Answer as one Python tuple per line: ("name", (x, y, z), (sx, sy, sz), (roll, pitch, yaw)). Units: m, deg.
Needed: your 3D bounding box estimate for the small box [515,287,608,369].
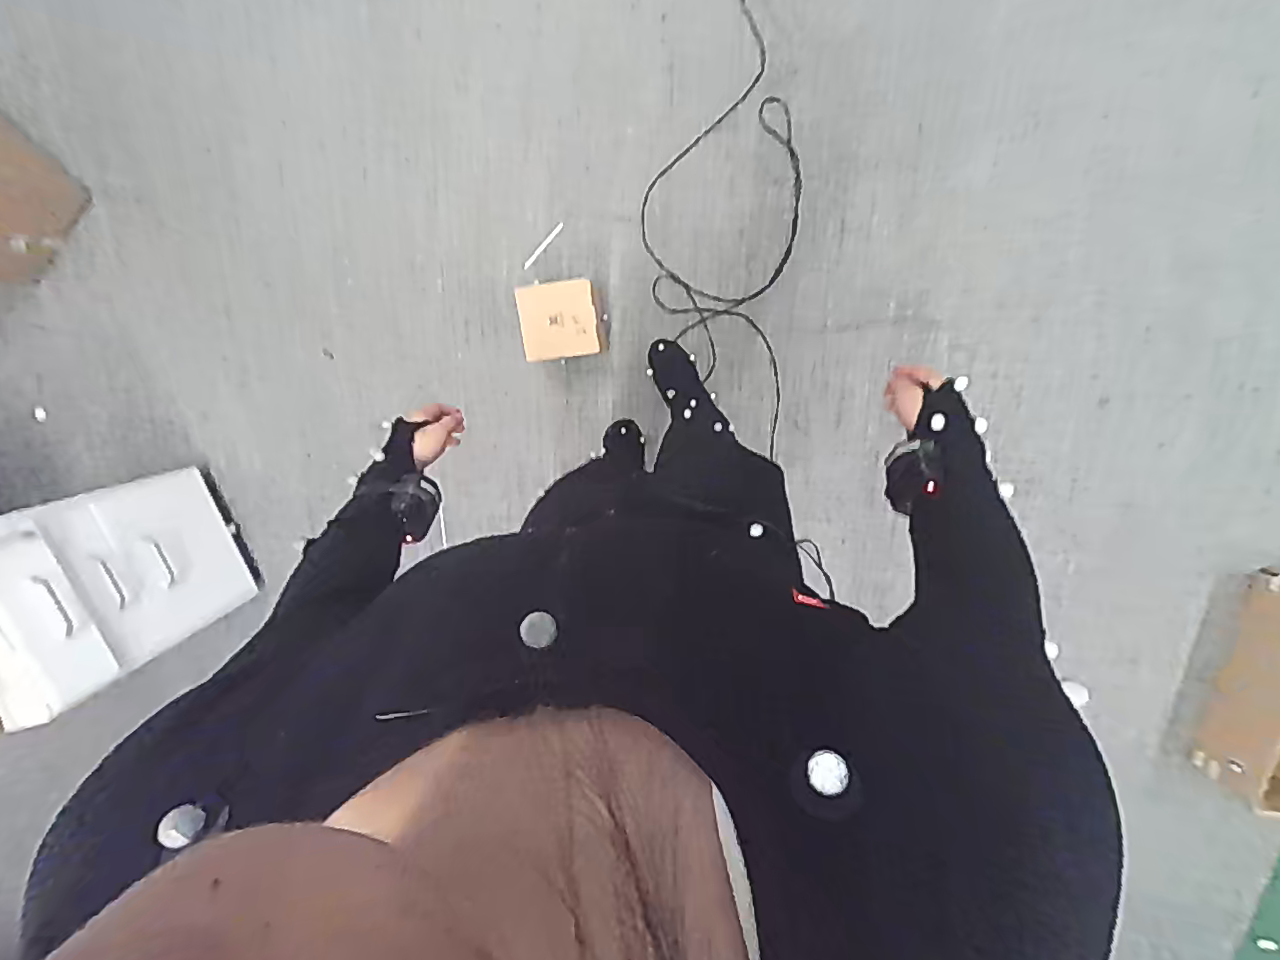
("small box", (-0.182, -0.360, 1.306), (0.179, 0.176, 0.168), (-7, 103, 5))
